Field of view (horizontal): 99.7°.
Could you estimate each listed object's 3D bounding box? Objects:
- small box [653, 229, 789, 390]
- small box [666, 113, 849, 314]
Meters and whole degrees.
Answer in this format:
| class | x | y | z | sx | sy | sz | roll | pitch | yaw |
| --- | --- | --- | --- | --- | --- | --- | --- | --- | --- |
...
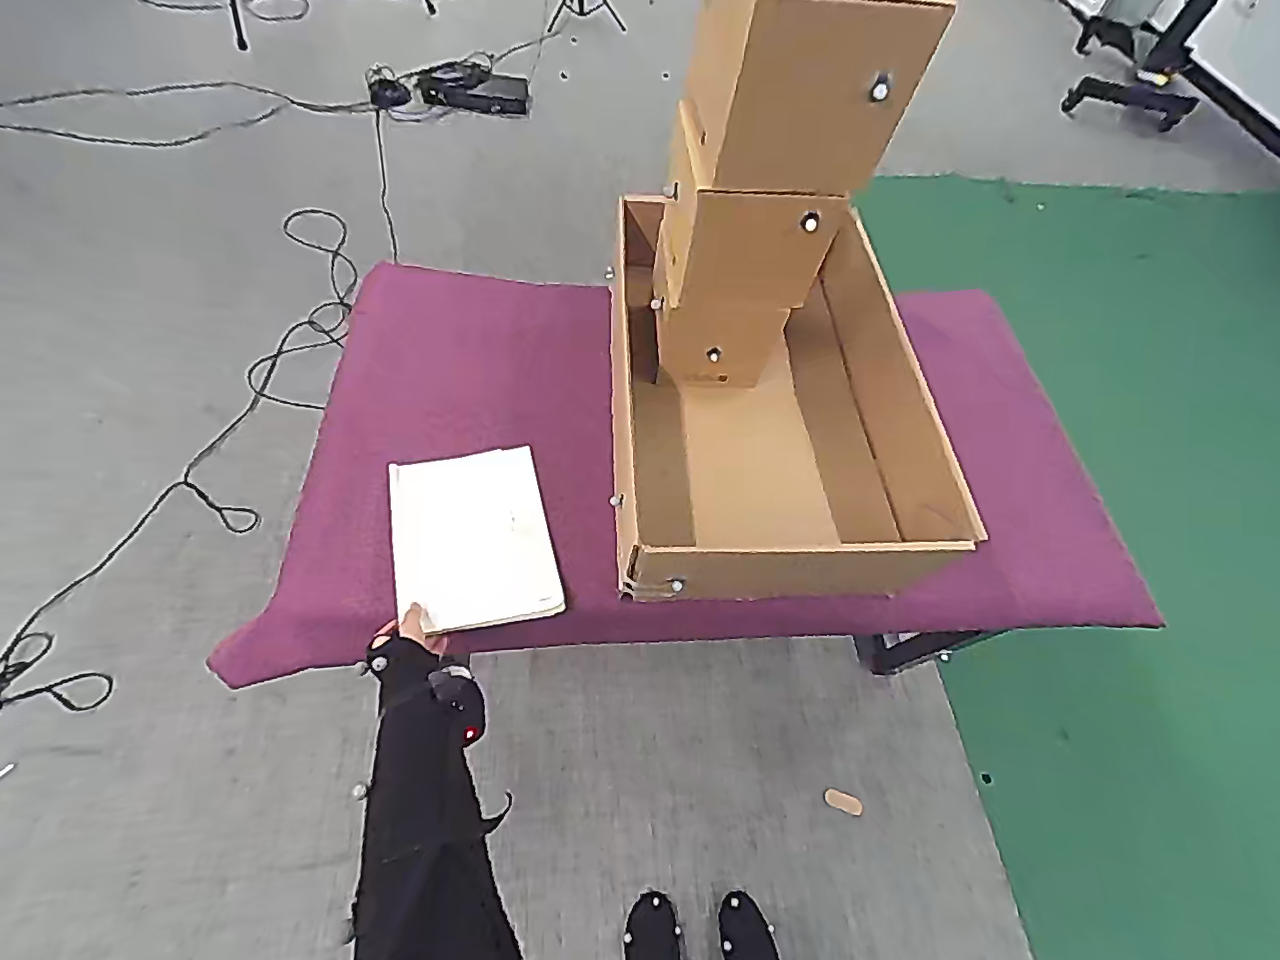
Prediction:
| class | x | y | z | sx | sy | sz | roll | pitch | yaw |
| --- | --- | --- | --- | --- | --- | --- | --- | --- | --- |
| small box | 0.111 | -0.253 | 0.825 | 0.168 | 0.176 | 0.179 | 0 | 62 | -5 |
| small box | 0.130 | -0.328 | 0.683 | 0.179 | 0.176 | 0.168 | -2 | 62 | -7 |
